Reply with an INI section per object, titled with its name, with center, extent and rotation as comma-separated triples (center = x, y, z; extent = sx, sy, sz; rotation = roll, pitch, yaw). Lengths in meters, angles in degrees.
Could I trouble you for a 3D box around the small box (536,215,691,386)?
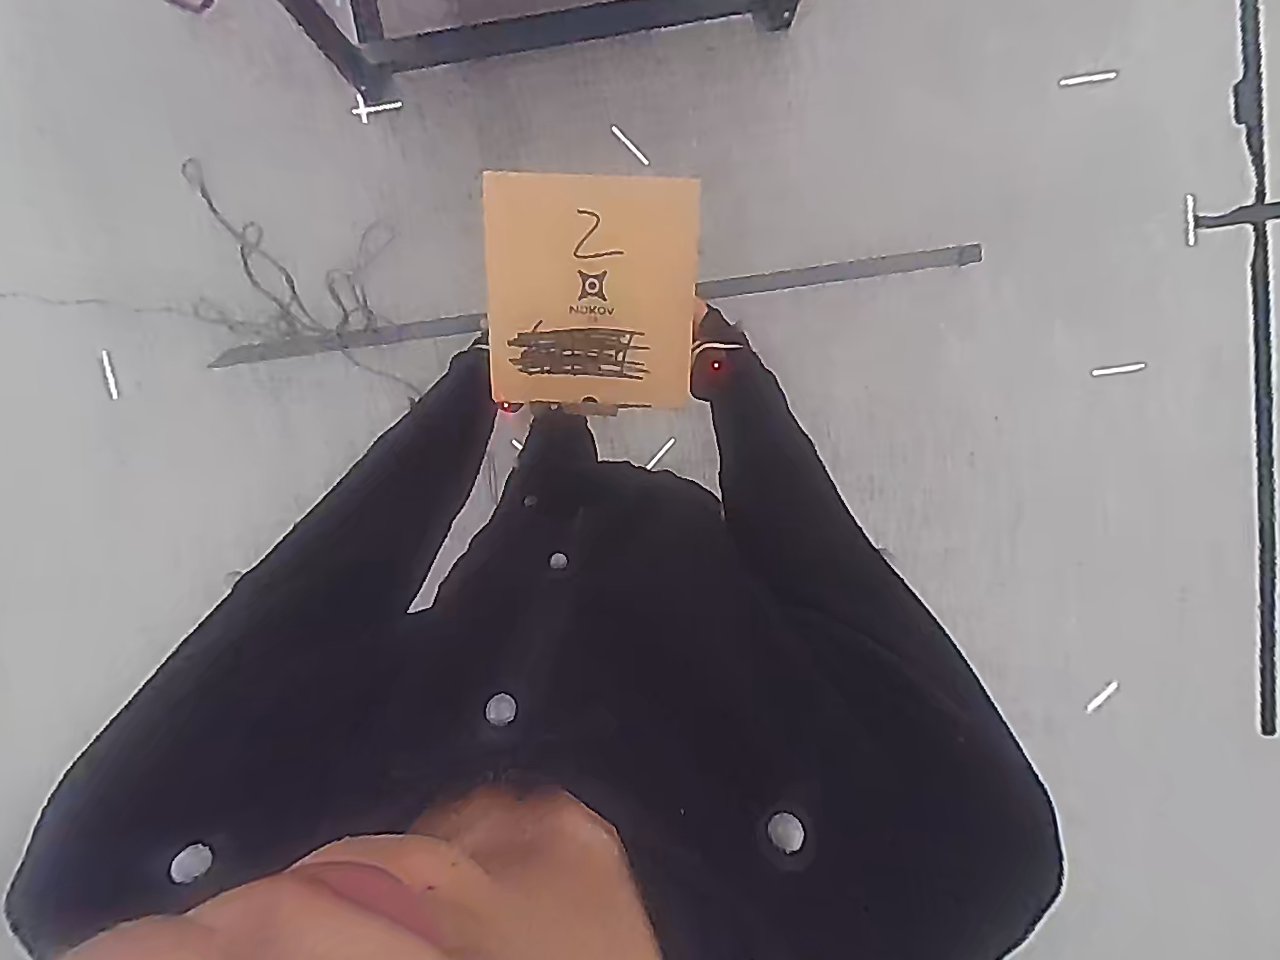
[small box]
center = -0.029, -0.211, 0.660
extent = 0.168, 0.176, 0.179
rotation = 1, 106, 1
